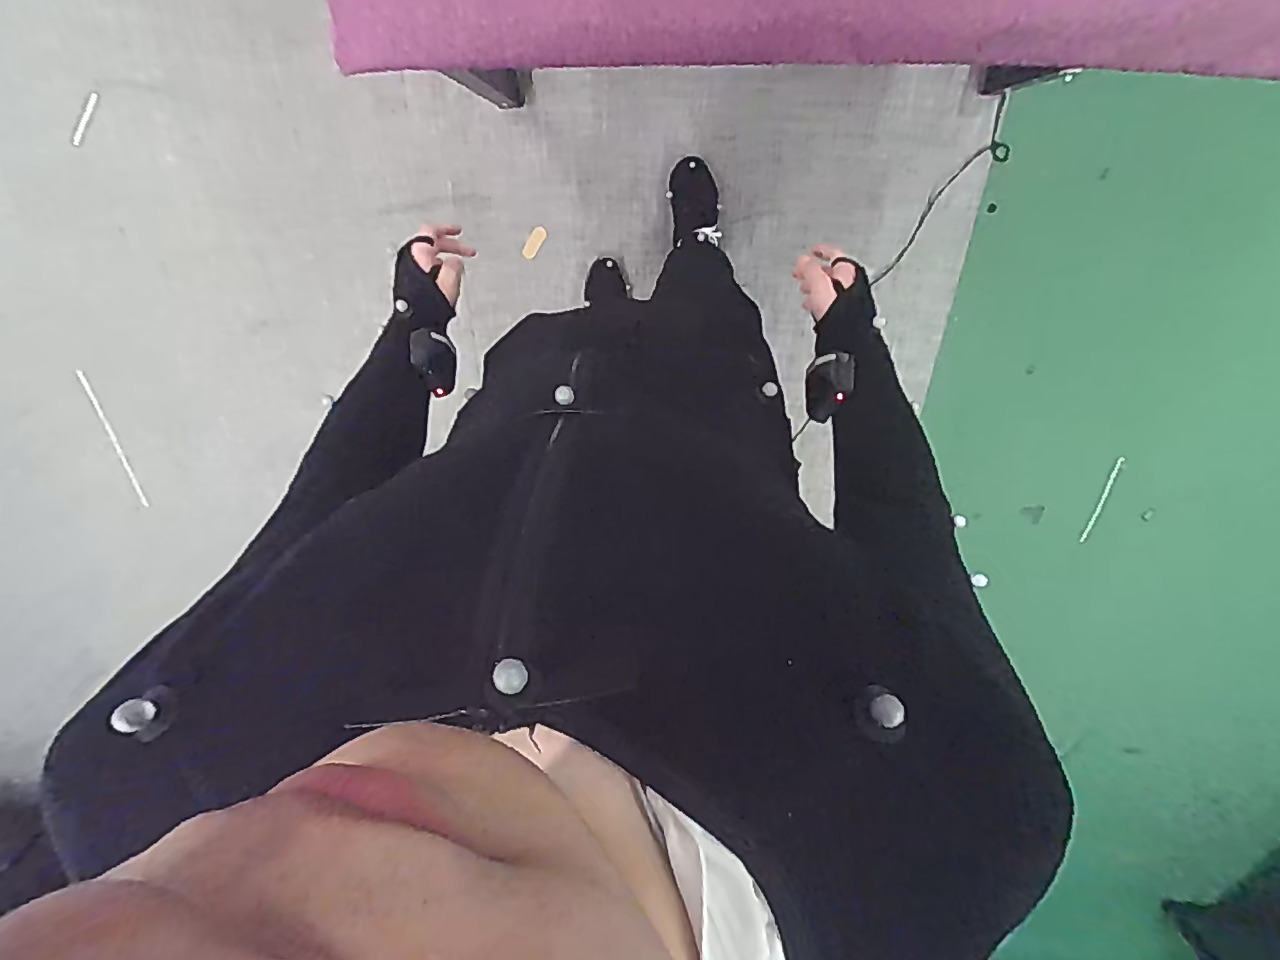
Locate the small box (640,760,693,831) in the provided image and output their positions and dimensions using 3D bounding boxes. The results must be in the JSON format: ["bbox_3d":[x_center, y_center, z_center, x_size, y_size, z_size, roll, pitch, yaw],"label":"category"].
[{"bbox_3d":[0.097,1.203,2.068,0.179,0.176,0.168,8,118,-4],"label":"small box"}]

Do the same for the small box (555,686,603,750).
[{"bbox_3d":[-0.234,0.929,2.118,0.179,0.176,0.168,2,117,-1],"label":"small box"}]
